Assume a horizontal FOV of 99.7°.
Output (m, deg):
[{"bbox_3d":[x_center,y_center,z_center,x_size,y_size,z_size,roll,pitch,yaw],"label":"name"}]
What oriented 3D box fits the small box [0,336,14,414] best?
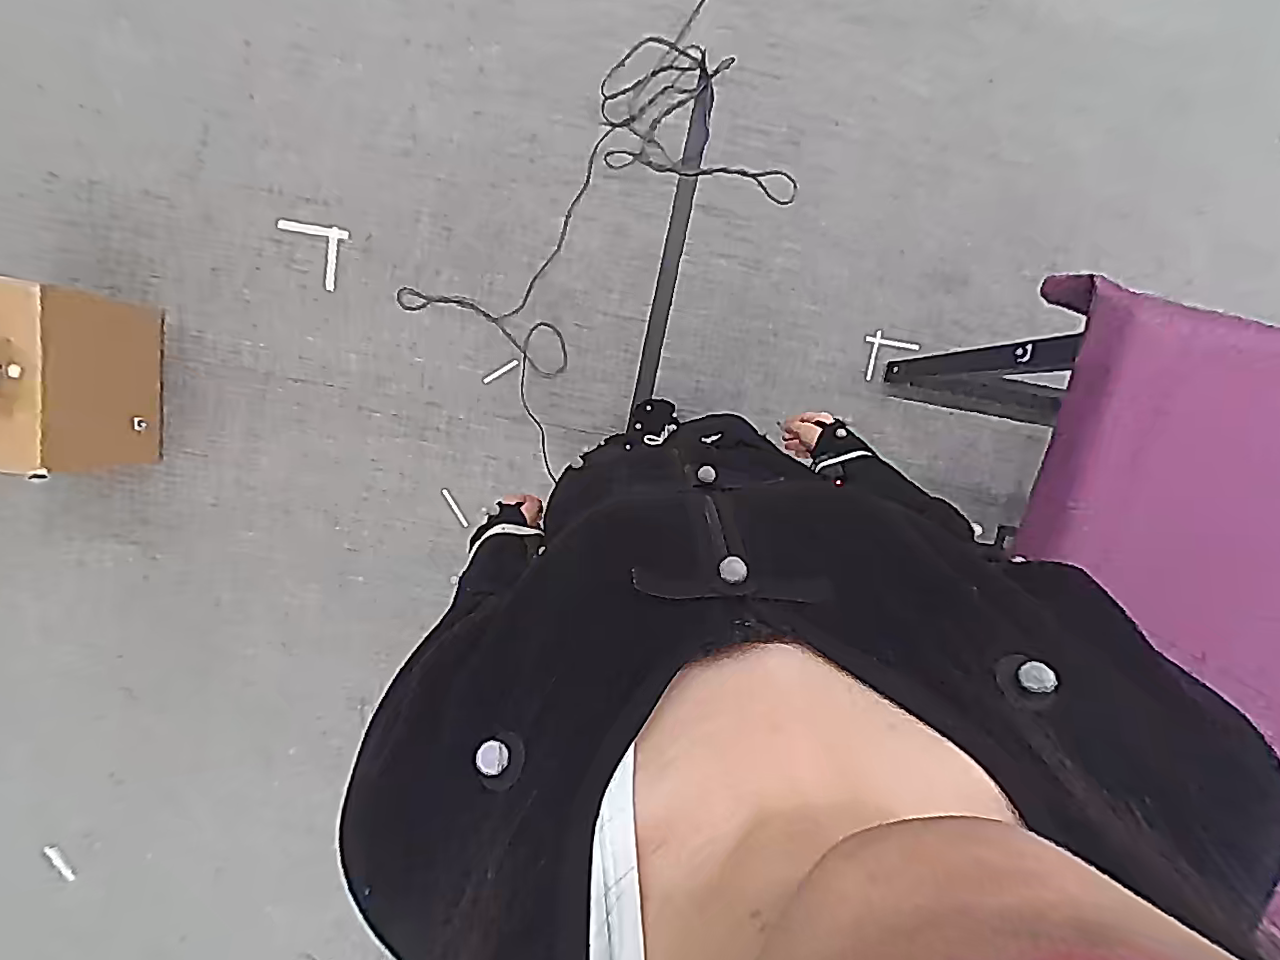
[{"bbox_3d":[-1.374,-0.213,1.027,0.179,0.176,0.168,7,98,-5],"label":"small box"}]
